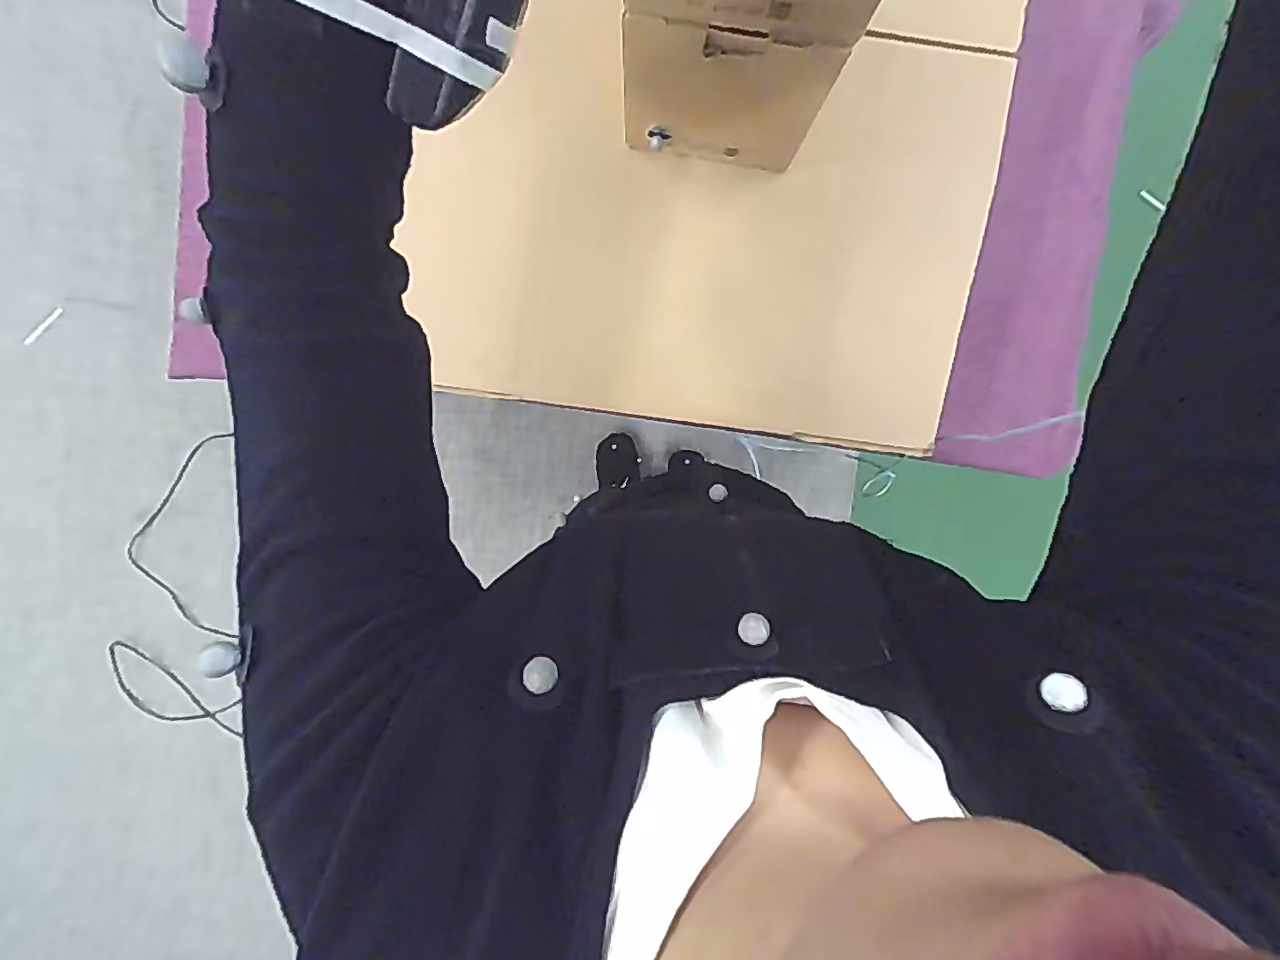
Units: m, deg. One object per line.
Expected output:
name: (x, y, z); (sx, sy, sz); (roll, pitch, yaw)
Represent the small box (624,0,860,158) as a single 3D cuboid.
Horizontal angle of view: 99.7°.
small box: (0.078, -0.400, 0.450); (0.168, 0.176, 0.179); (5, 95, -1)
